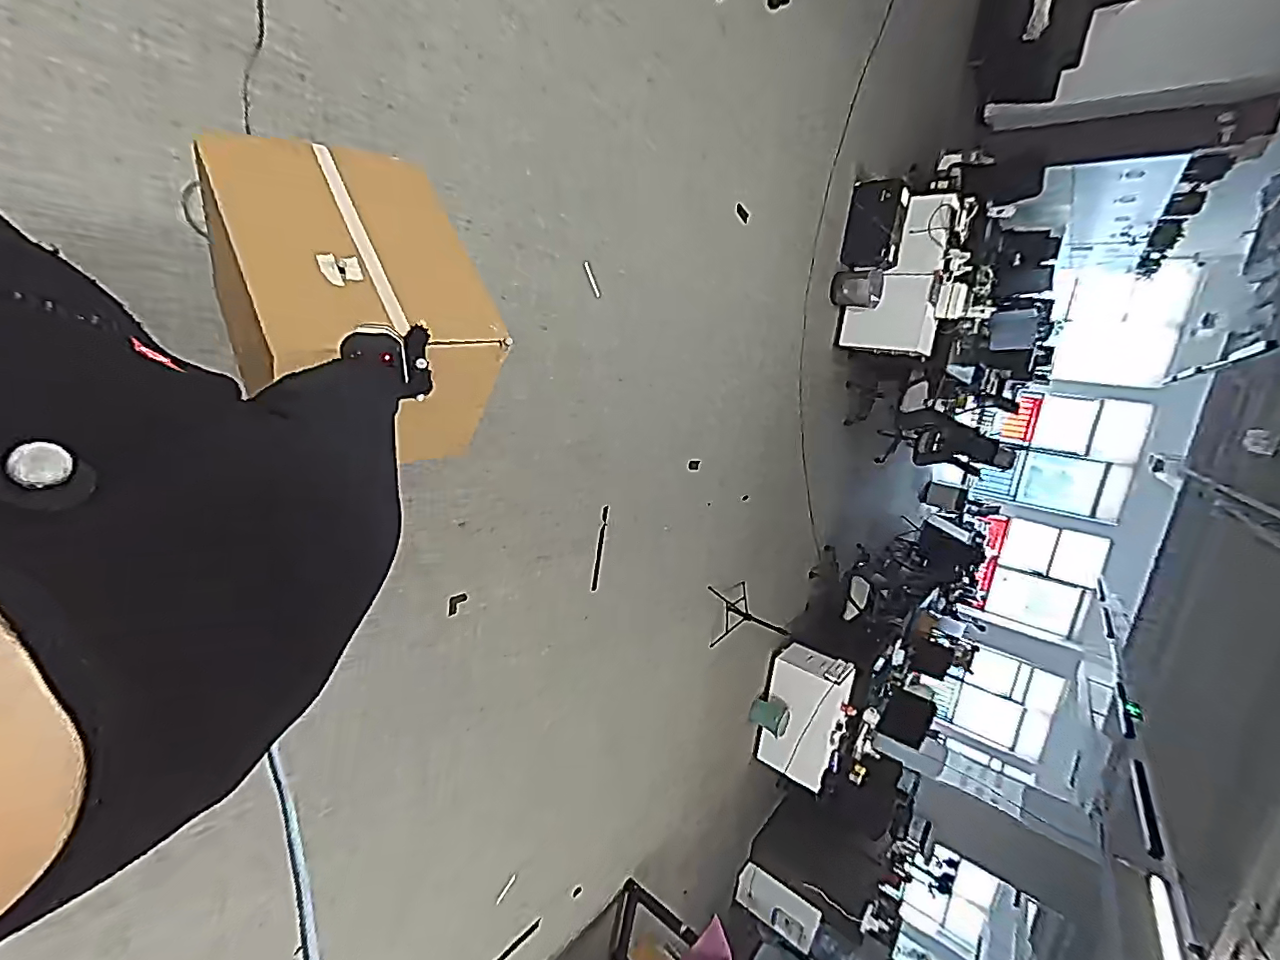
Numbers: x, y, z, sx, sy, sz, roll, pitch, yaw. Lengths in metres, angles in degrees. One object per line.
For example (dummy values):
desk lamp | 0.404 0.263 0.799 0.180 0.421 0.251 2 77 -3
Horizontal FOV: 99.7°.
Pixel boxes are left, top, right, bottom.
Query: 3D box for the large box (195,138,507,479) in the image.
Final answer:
large box | -0.485 -0.269 0.903 0.320 0.408 0.320 -17 161 -39
